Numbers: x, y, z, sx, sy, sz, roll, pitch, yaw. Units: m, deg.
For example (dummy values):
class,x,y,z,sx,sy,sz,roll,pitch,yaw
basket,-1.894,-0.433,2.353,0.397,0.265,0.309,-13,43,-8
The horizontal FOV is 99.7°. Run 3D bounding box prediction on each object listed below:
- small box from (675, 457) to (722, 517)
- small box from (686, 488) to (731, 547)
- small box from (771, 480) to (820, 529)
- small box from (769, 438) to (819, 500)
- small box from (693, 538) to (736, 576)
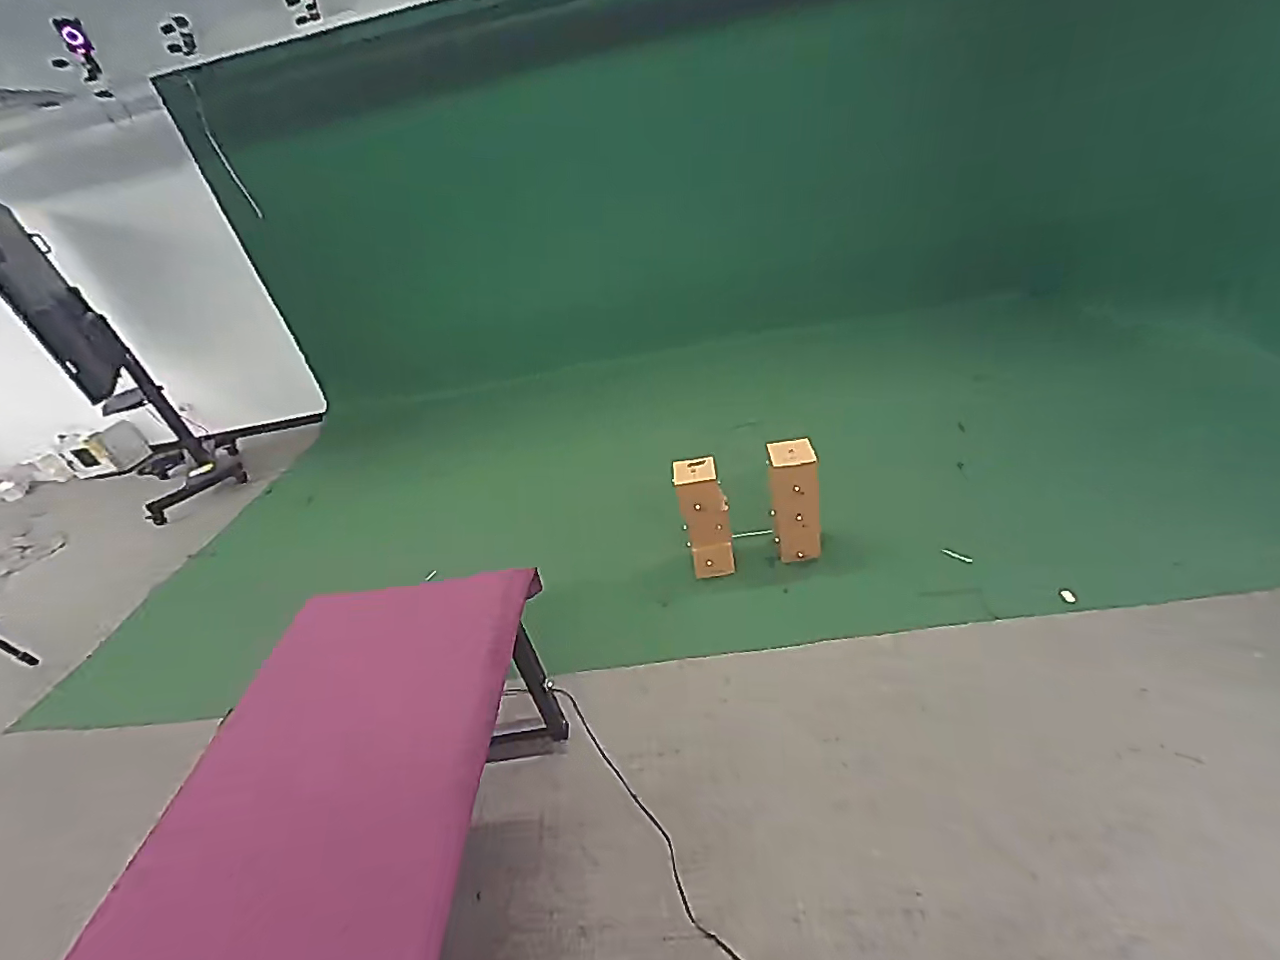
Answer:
class,x,y,z,sx,sy,sz,roll,pitch,yaw
small box,0.236,0.028,2.199,0.168,0.176,0.179,-9,32,8
small box,0.286,0.161,2.283,0.179,0.176,0.168,-11,31,5
small box,0.647,0.092,2.250,0.168,0.176,0.179,-8,35,7
small box,0.612,-0.043,2.162,0.168,0.176,0.179,-8,34,8
small box,0.318,0.302,2.356,0.168,0.176,0.179,-11,32,5
